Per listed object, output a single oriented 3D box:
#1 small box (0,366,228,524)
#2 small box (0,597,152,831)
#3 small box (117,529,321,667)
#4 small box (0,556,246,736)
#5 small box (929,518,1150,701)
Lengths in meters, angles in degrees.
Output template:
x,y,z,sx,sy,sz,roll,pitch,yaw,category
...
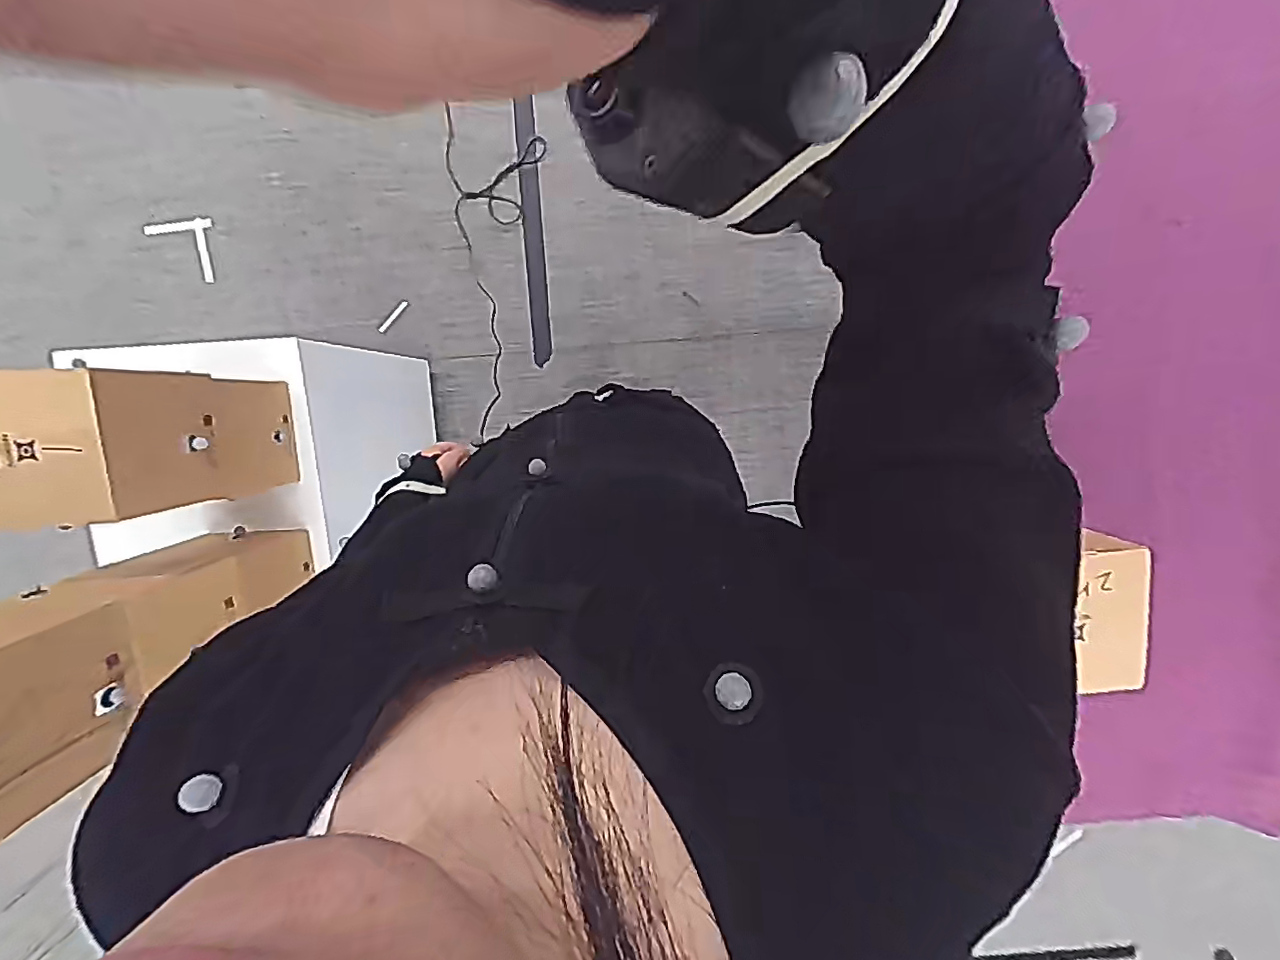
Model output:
x,y,z,sx,sy,sz,roll,pitch,yaw,category
-0.640,-0.046,0.637,0.179,0.176,0.168,-1,99,-1,small box
-0.636,0.223,0.516,0.179,0.176,0.168,-5,100,0,small box
-0.637,0.176,0.838,0.179,0.176,0.168,-3,98,1,small box
-0.635,0.199,0.677,0.179,0.176,0.168,-4,99,1,small box
0.500,0.157,0.702,0.168,0.176,0.179,-5,98,0,small box
